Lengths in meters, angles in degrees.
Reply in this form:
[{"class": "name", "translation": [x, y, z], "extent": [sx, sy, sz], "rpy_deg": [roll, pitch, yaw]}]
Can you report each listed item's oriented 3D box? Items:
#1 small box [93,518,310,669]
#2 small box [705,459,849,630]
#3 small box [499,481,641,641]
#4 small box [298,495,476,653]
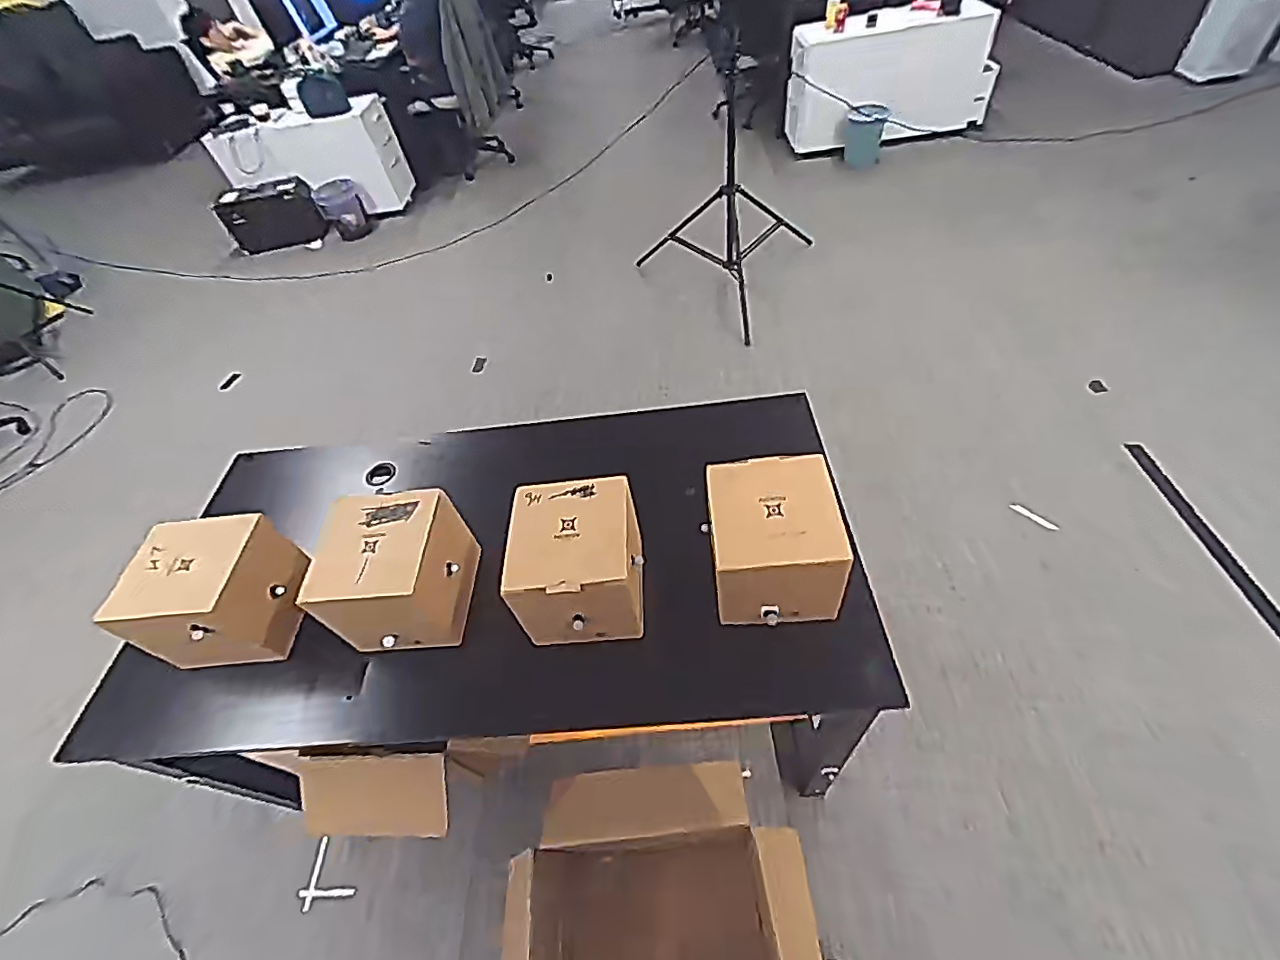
[{"class": "small box", "translation": [-0.648, 0.179, 0.836], "extent": [0.179, 0.176, 0.168], "rpy_deg": [-6, 49, 4]}, {"class": "small box", "translation": [0.184, 0.095, 0.777], "extent": [0.168, 0.176, 0.179], "rpy_deg": [-6, 50, 6]}, {"class": "small box", "translation": [-0.091, 0.126, 0.795], "extent": [0.168, 0.176, 0.179], "rpy_deg": [-6, 50, 5]}, {"class": "small box", "translation": [-0.365, 0.145, 0.822], "extent": [0.168, 0.176, 0.179], "rpy_deg": [-5, 50, 5]}]
